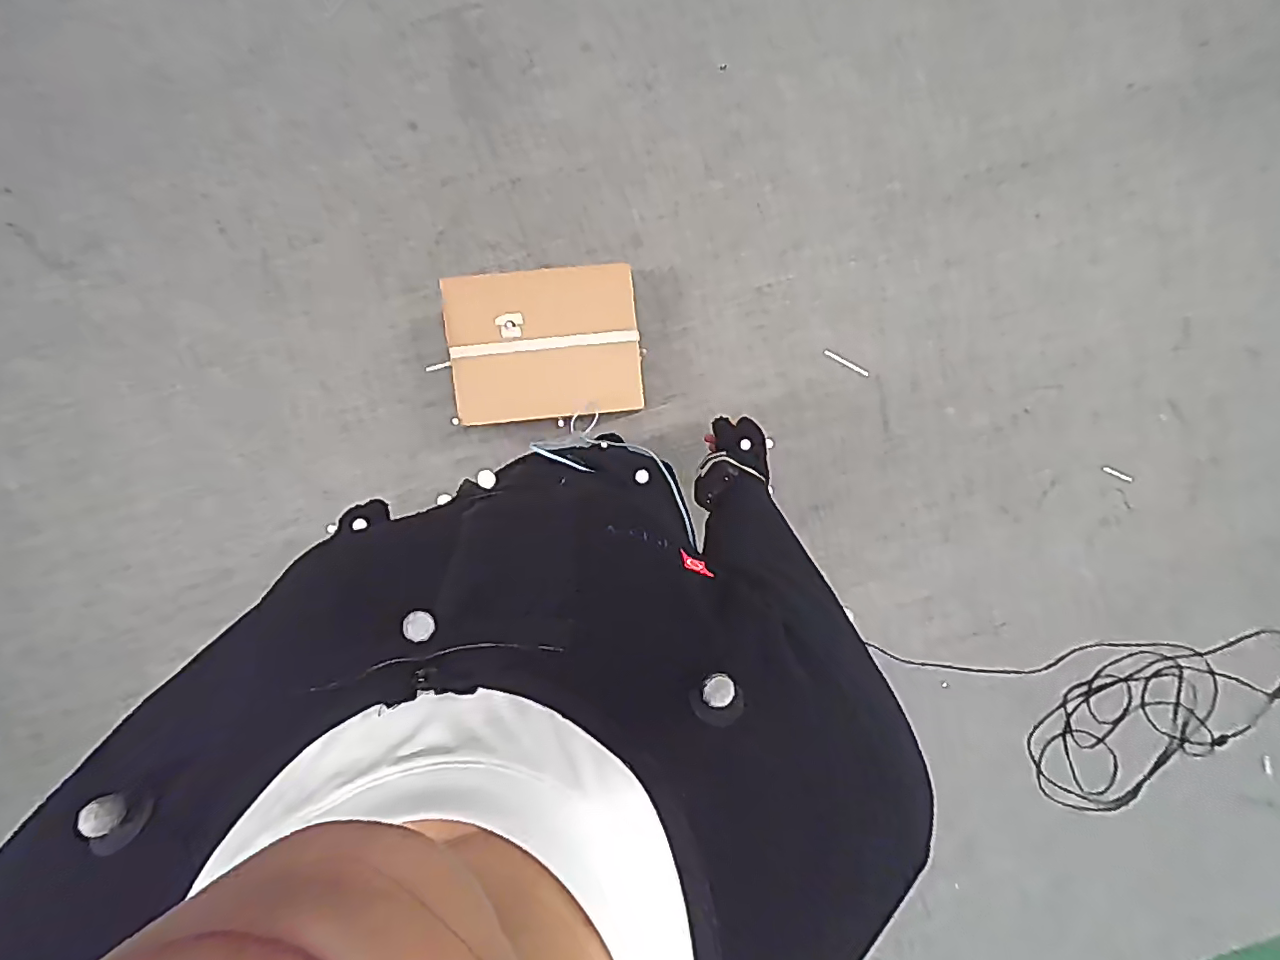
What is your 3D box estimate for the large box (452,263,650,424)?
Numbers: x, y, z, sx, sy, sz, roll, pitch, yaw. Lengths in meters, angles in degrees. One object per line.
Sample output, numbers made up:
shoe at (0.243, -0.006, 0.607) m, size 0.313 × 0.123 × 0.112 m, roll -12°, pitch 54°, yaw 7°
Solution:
large box at (-0.194, -0.313, 1.321) m, size 0.408 × 0.320 × 0.320 m, roll -6°, pitch 96°, yaw -2°
